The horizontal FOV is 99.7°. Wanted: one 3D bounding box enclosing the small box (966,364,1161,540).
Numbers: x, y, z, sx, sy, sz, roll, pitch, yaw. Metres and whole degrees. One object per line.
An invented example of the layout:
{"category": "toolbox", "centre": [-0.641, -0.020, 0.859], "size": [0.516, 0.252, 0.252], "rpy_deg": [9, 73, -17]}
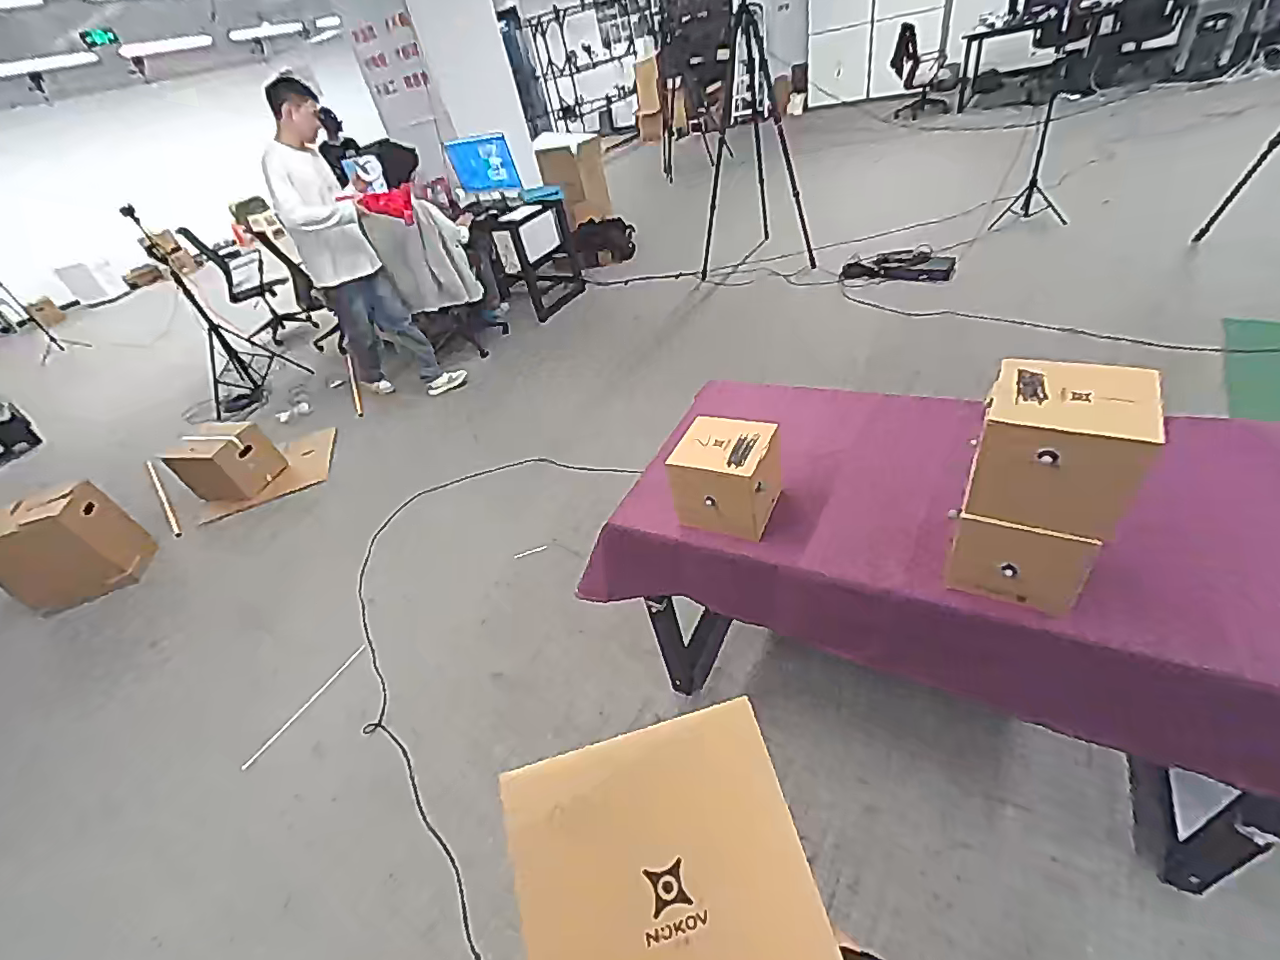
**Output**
{"category": "small box", "centre": [0.573, -0.041, 0.750], "size": [0.179, 0.176, 0.168], "rpy_deg": [15, 47, 30]}

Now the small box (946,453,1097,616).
{"category": "small box", "centre": [0.597, 0.084, 0.855], "size": [0.168, 0.176, 0.179], "rpy_deg": [14, 46, 30]}
